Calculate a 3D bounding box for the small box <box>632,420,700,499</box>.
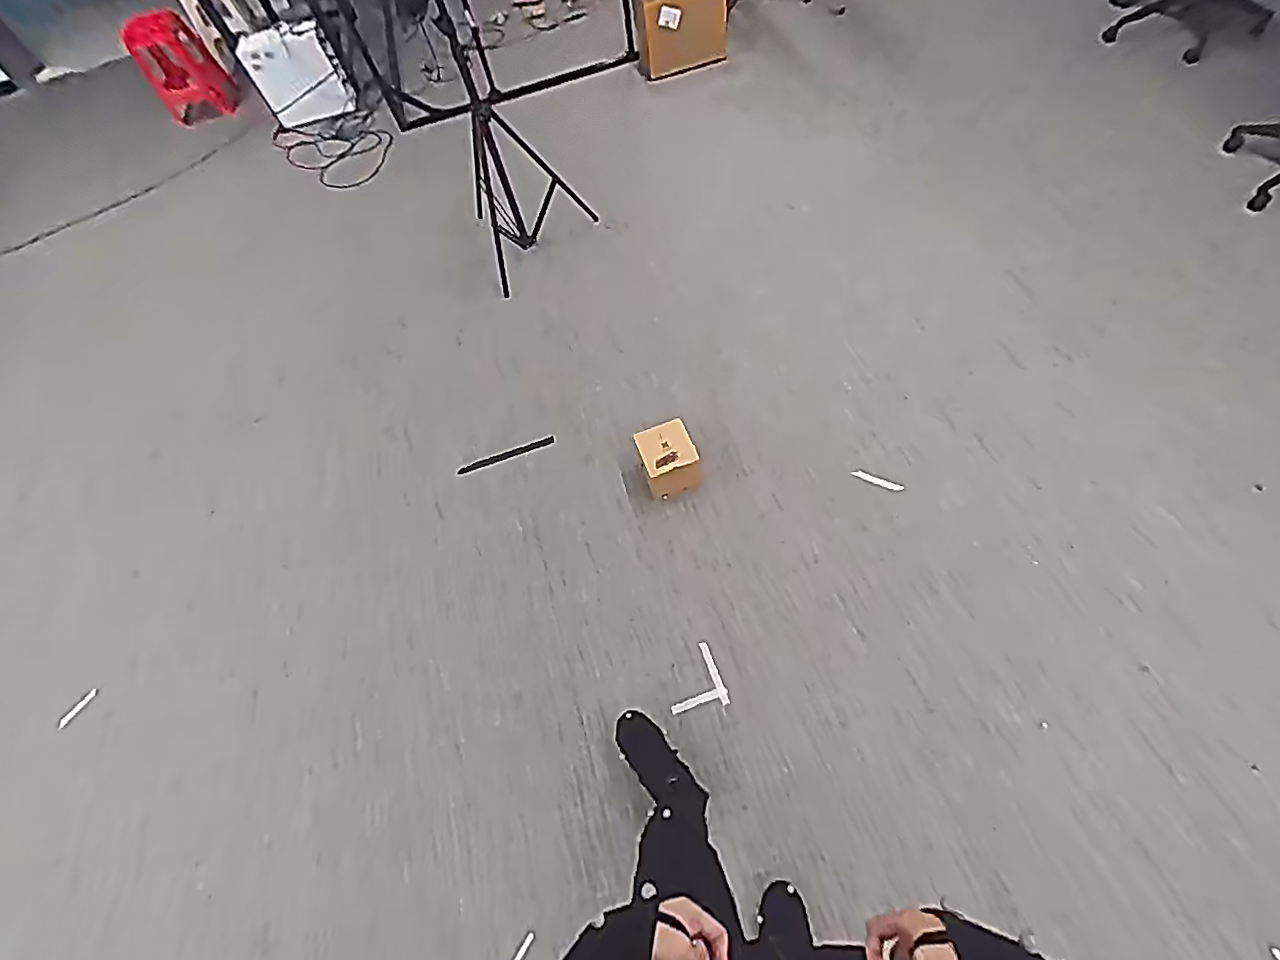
[{"bbox_3d":[0.088,-0.056,1.738,0.168,0.176,0.179,-20,59,-4],"label":"small box"}]
